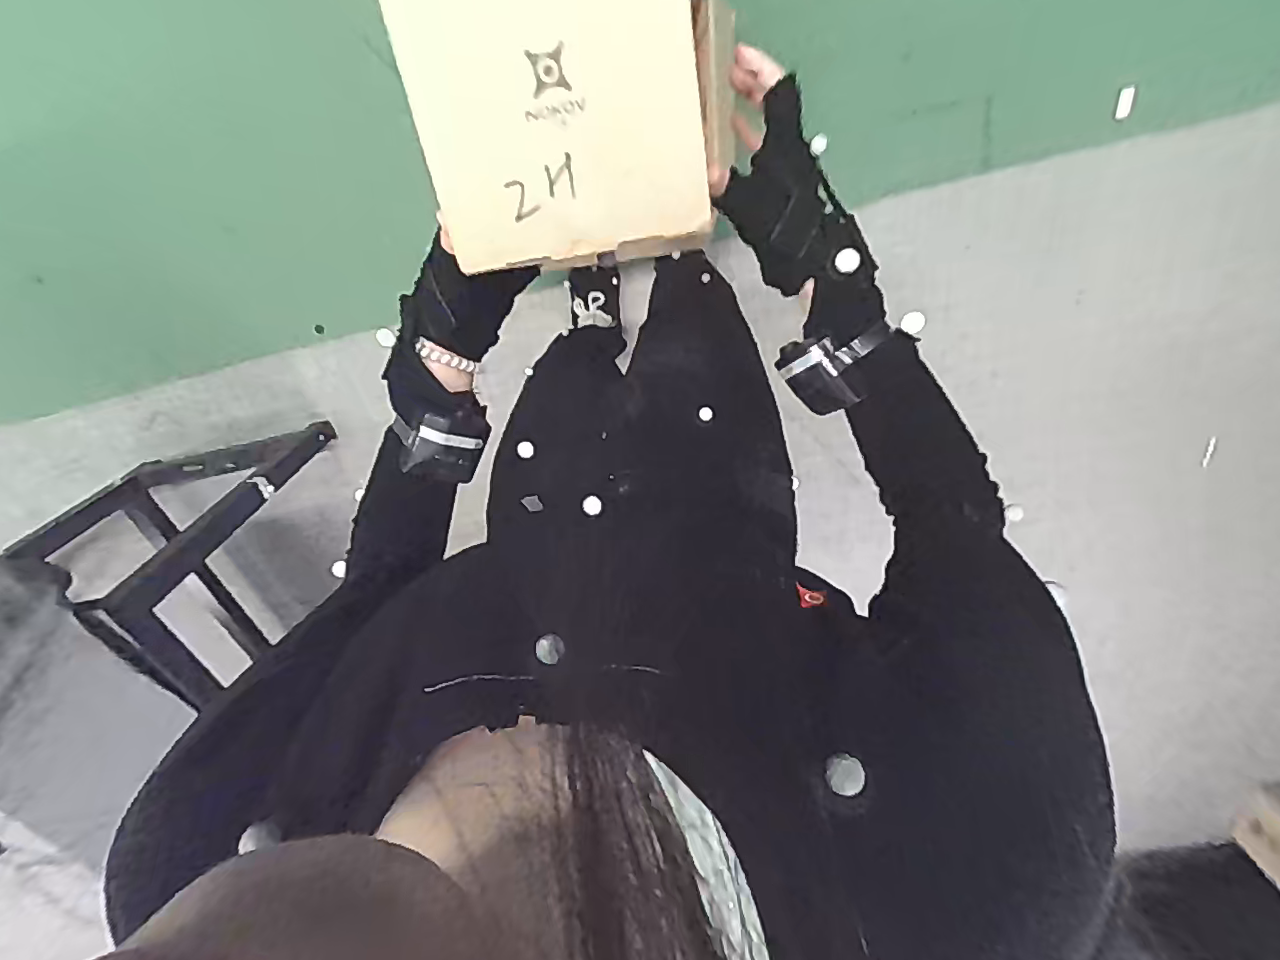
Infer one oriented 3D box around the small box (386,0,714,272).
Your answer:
[{"bbox_3d":[-0.043,-0.253,0.372,0.168,0.176,0.179,-6,116,7],"label":"small box"}]
